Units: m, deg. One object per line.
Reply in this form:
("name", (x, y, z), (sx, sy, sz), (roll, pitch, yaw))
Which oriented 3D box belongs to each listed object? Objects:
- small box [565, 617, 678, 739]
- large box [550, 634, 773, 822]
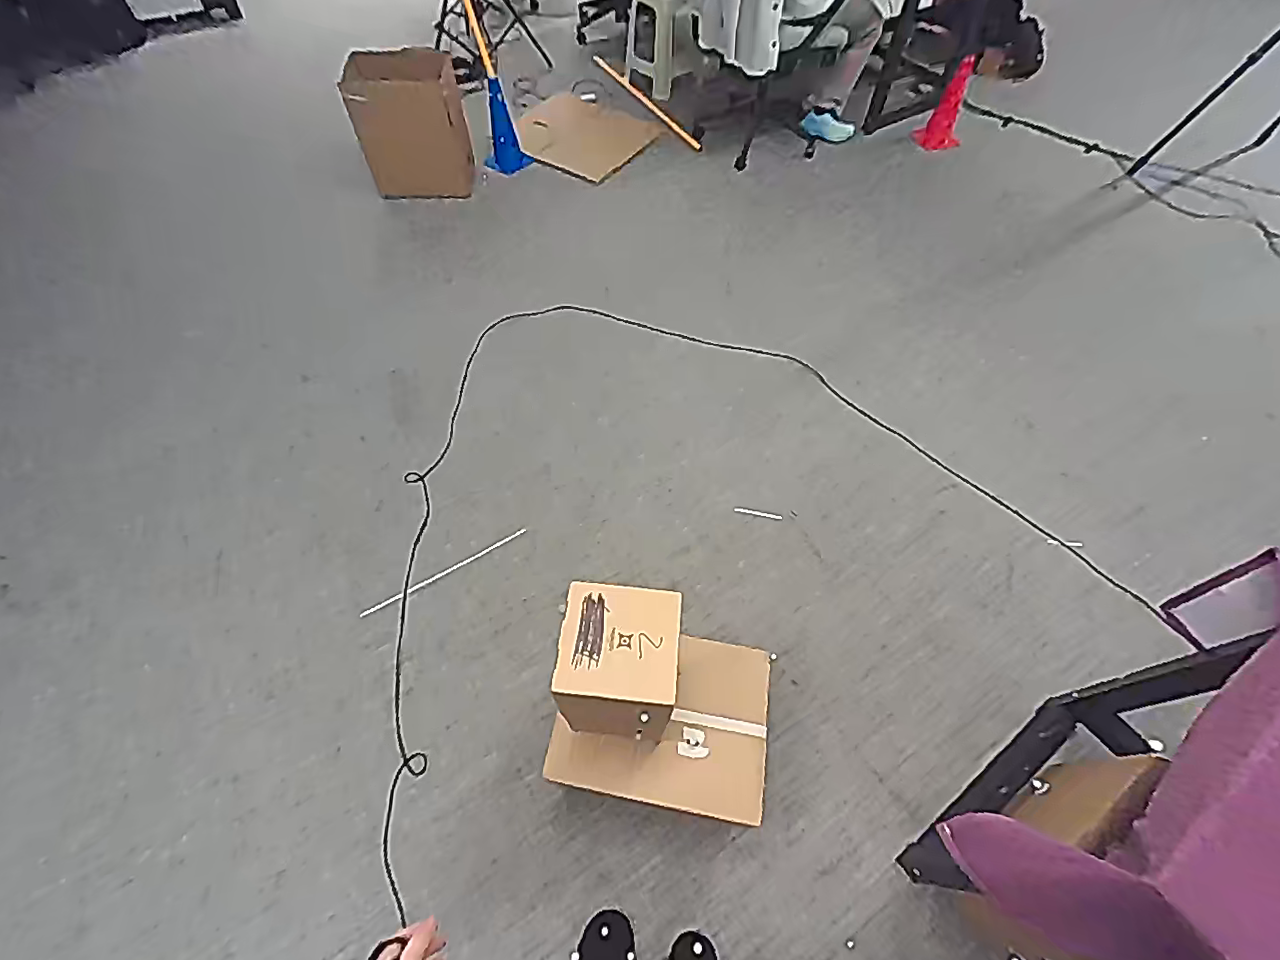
("small box", (-0.028, 0.366, 0.987), (0.179, 0.176, 0.168), (6, 57, 4))
("large box", (0.049, 0.528, 1.176), (0.408, 0.320, 0.320), (9, 59, 5))
